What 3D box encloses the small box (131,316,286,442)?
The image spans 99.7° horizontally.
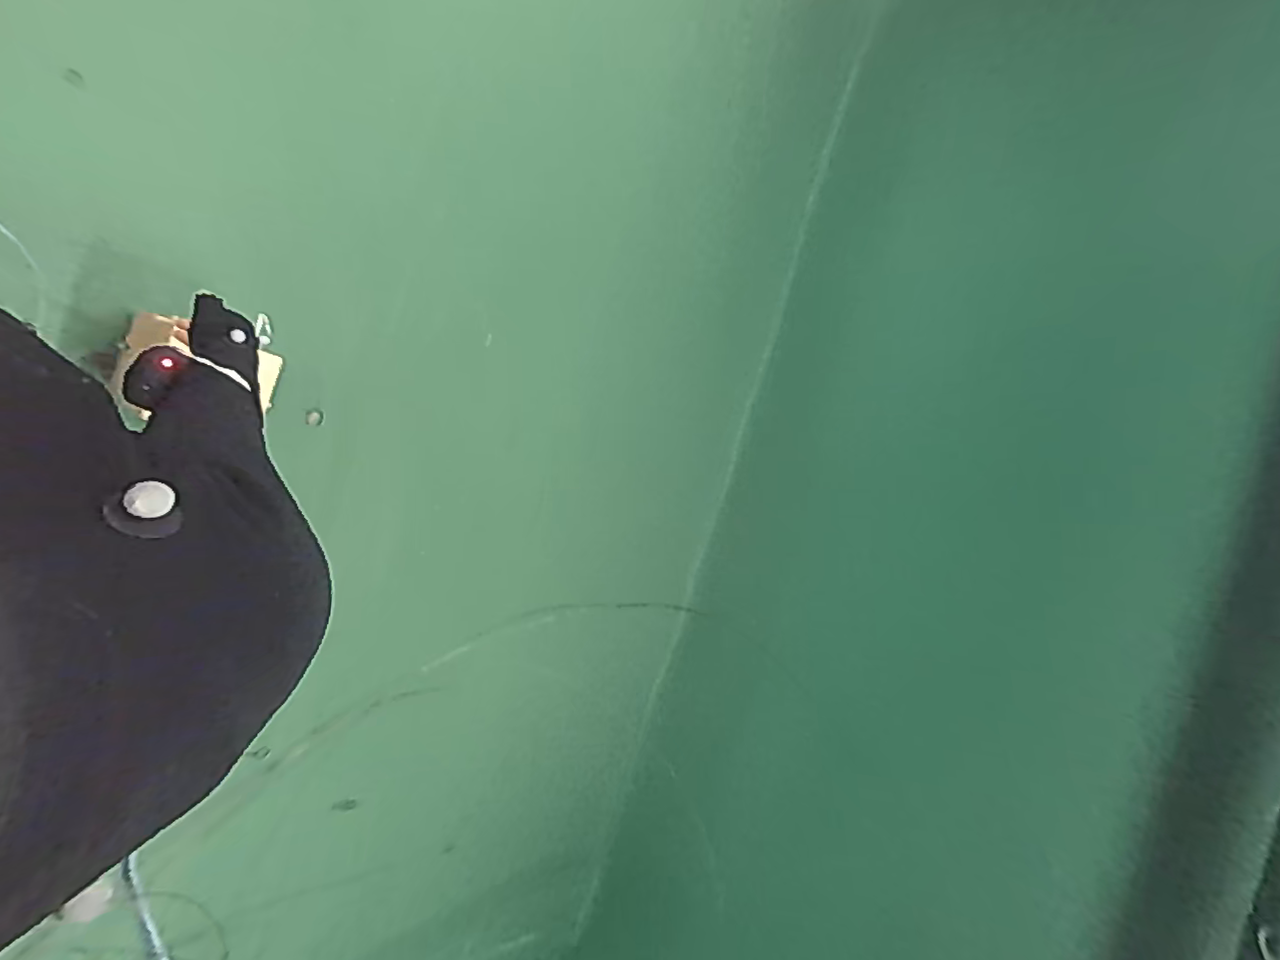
[{"bbox_3d":[-0.805,-0.190,1.006,0.168,0.176,0.179,20,89,-53],"label":"small box"}]
